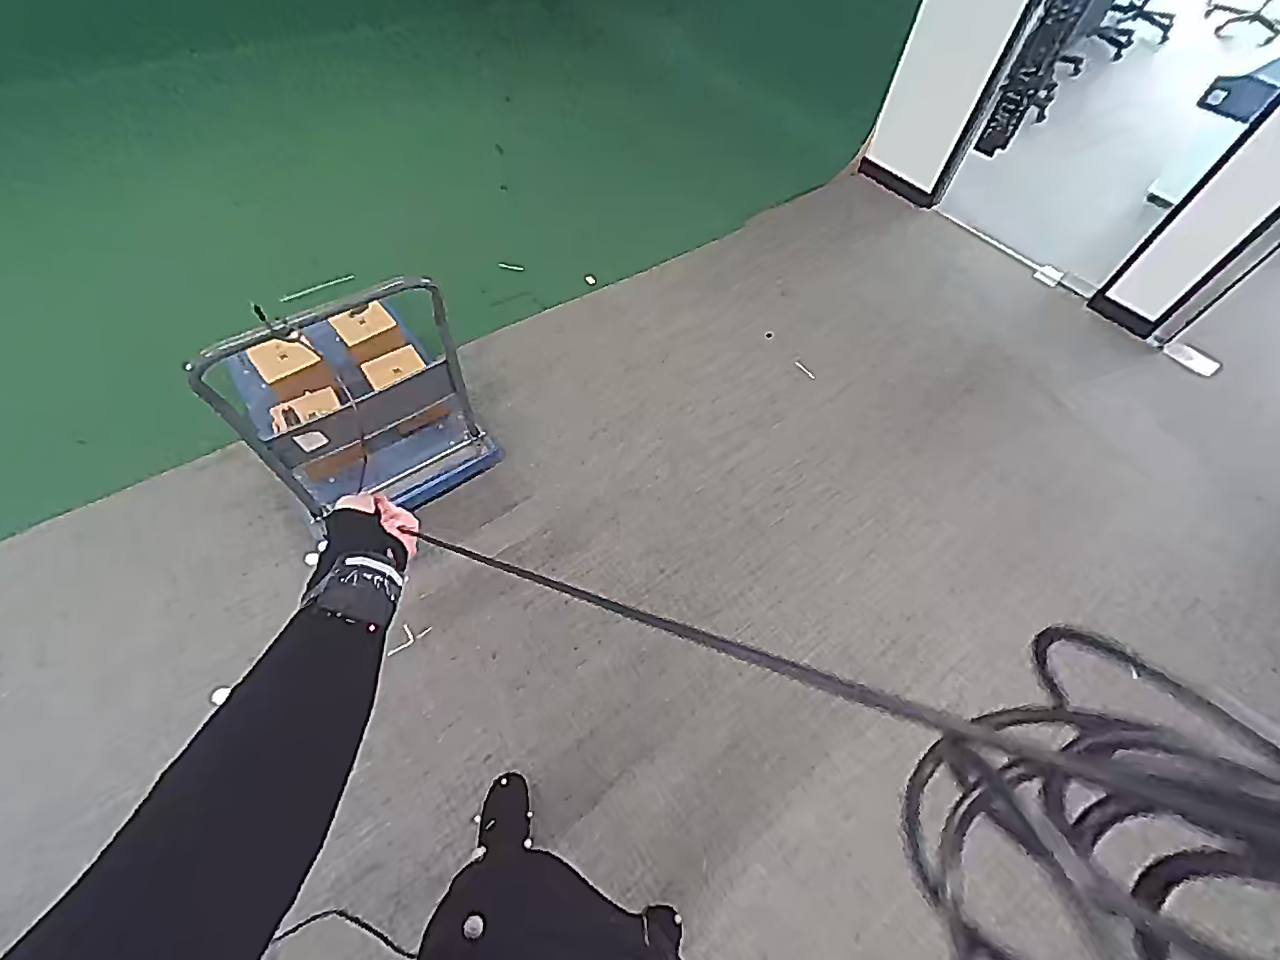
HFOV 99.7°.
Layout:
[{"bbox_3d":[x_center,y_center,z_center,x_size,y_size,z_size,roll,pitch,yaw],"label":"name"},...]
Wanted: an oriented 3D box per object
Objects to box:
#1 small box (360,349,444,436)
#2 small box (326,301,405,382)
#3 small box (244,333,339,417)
[{"bbox_3d":[-0.744,-0.273,1.704,0.168,0.176,0.179,-31,65,-21],"label":"small box"},{"bbox_3d":[-0.908,-0.459,1.812,0.168,0.176,0.179,-35,67,-22],"label":"small box"},{"bbox_3d":[-1.096,-0.324,1.713,0.168,0.176,0.179,-35,66,-24],"label":"small box"}]
